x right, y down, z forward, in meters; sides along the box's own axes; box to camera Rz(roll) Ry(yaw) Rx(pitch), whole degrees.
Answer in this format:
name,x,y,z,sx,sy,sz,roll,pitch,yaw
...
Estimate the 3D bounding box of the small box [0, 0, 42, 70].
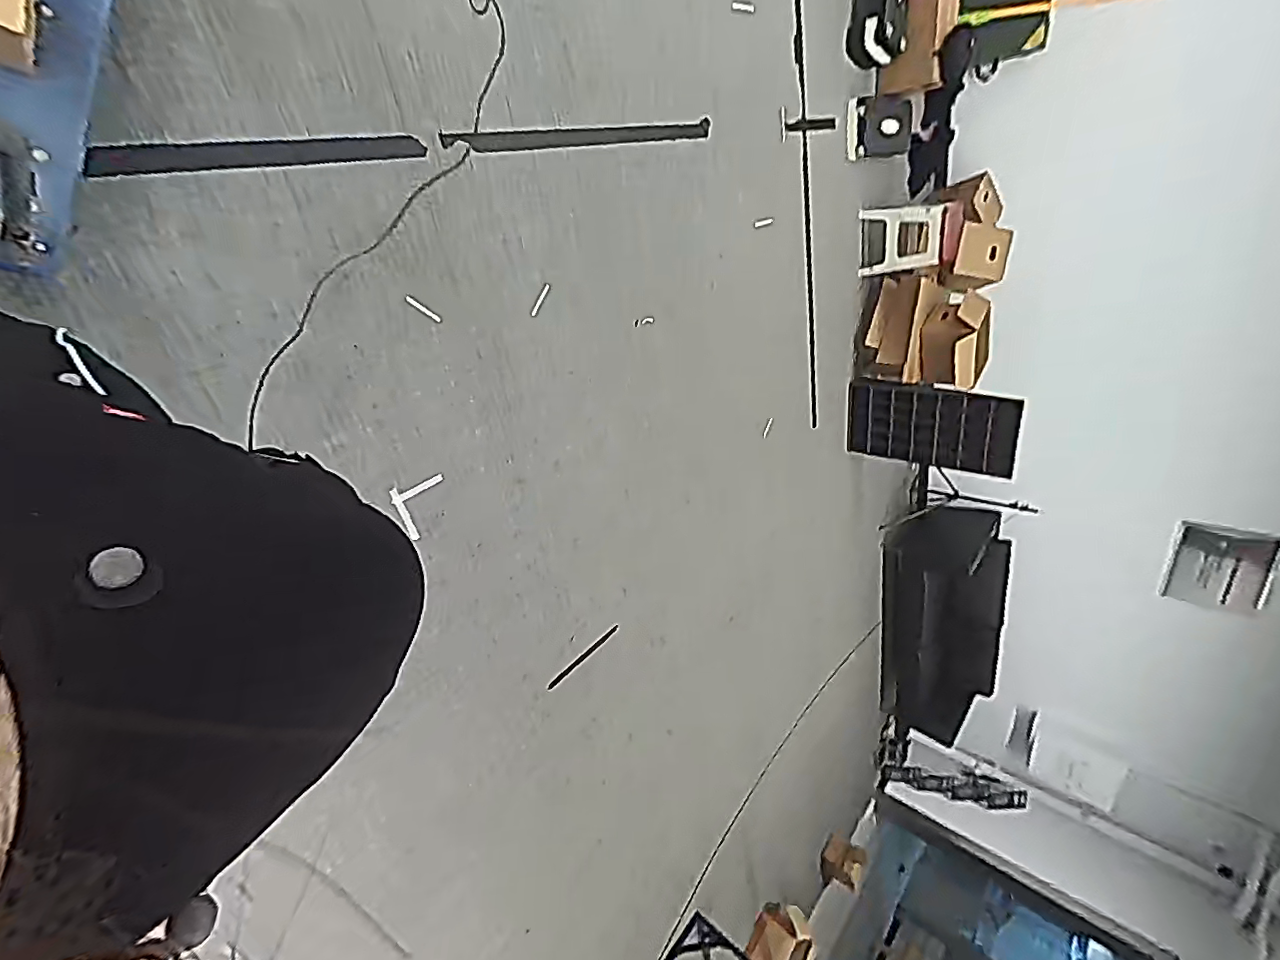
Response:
name,x,y,z,sx,sy,sz,roll,pitch,yaw
small box,-0.907,-0.679,0.696,0.179,0.176,0.168,5,97,-47
